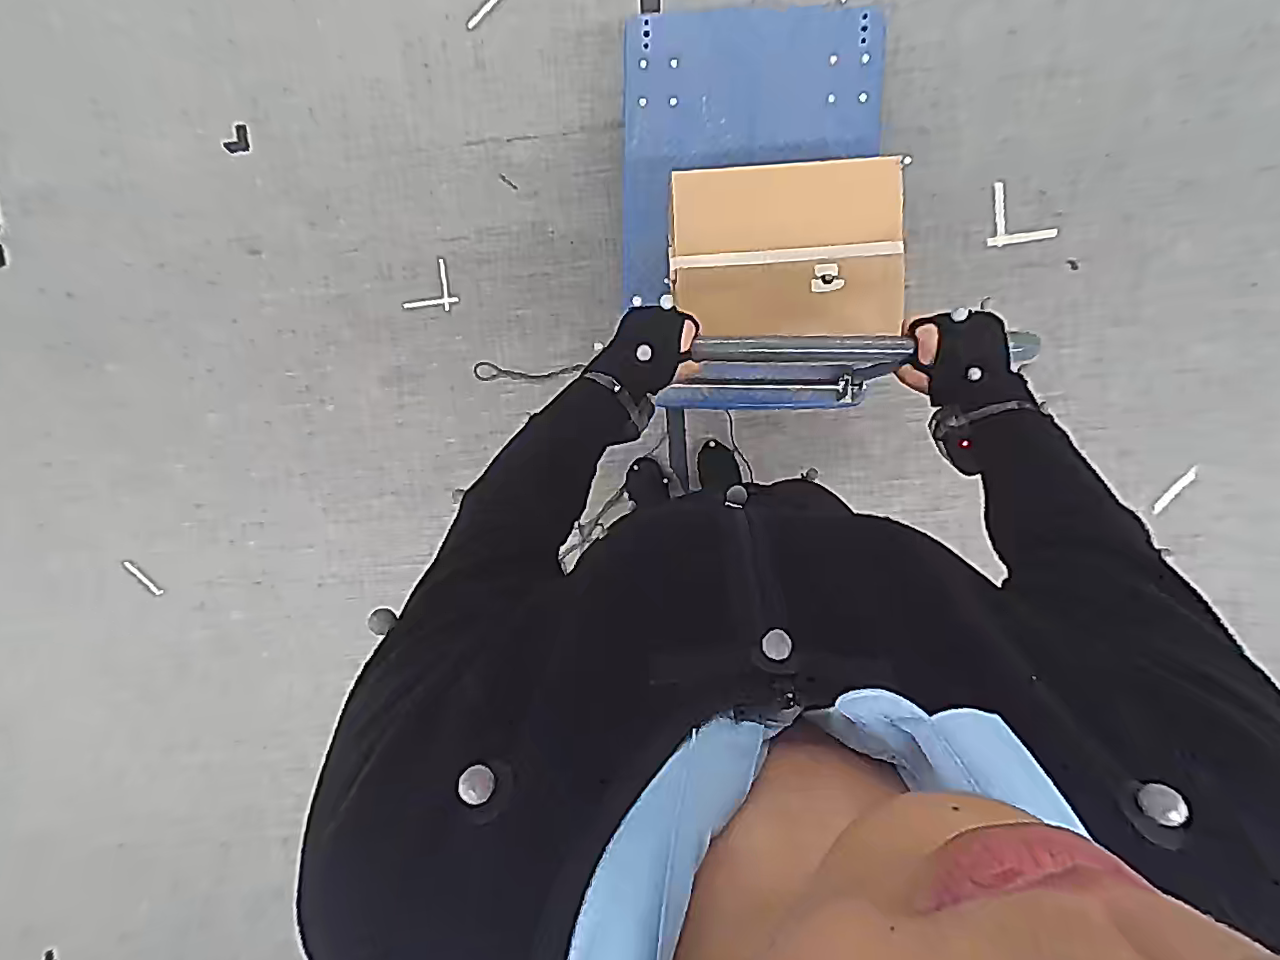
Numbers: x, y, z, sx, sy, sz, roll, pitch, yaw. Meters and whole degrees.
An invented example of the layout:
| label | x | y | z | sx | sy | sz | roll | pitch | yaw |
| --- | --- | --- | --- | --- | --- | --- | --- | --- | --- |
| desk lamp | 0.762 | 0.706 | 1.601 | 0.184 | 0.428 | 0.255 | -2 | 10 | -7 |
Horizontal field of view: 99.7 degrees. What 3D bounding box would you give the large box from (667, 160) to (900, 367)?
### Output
| label | x | y | z | sx | sy | sz | roll | pitch | yaw |
| --- | --- | --- | --- | --- | --- | --- | --- | --- | --- |
| large box | 0.269 | -0.419 | 1.126 | 0.408 | 0.320 | 0.320 | -3 | 97 | 2 |
